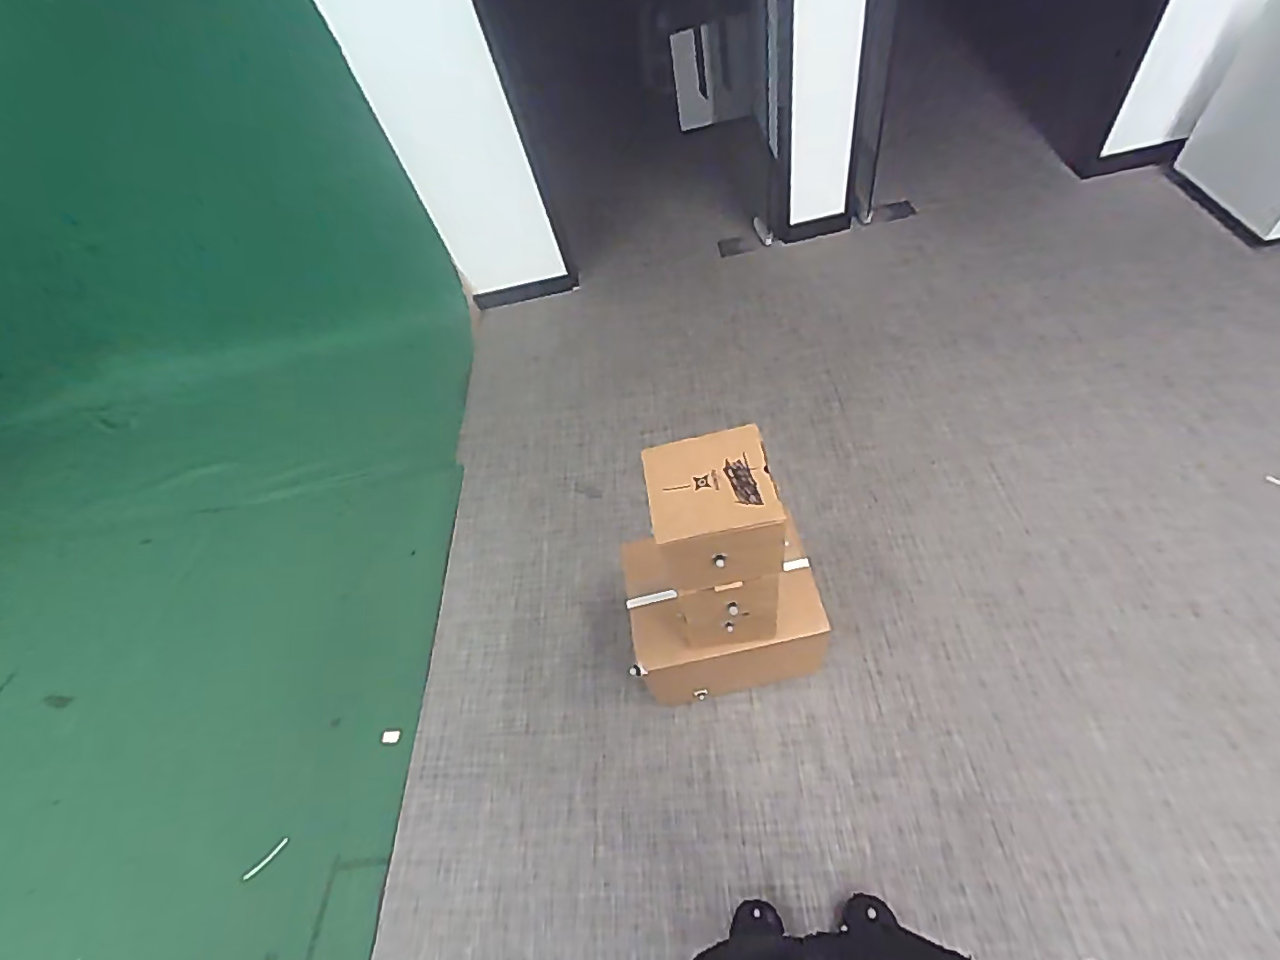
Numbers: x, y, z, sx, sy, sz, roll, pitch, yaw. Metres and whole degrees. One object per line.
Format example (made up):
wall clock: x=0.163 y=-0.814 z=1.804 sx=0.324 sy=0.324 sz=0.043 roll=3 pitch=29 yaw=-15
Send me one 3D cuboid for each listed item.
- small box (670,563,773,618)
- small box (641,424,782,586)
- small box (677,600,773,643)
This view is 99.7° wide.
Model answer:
small box: x=0.136 y=0.132 z=0.955 sx=0.168 sy=0.176 sz=0.179 roll=-13 pitch=56 yaw=5
small box: x=0.108 y=0.043 z=0.818 sx=0.179 sy=0.176 sz=0.168 roll=-12 pitch=55 yaw=7
small box: x=0.164 y=0.217 z=1.091 sx=0.179 sy=0.176 sz=0.168 roll=-10 pitch=56 yaw=5
